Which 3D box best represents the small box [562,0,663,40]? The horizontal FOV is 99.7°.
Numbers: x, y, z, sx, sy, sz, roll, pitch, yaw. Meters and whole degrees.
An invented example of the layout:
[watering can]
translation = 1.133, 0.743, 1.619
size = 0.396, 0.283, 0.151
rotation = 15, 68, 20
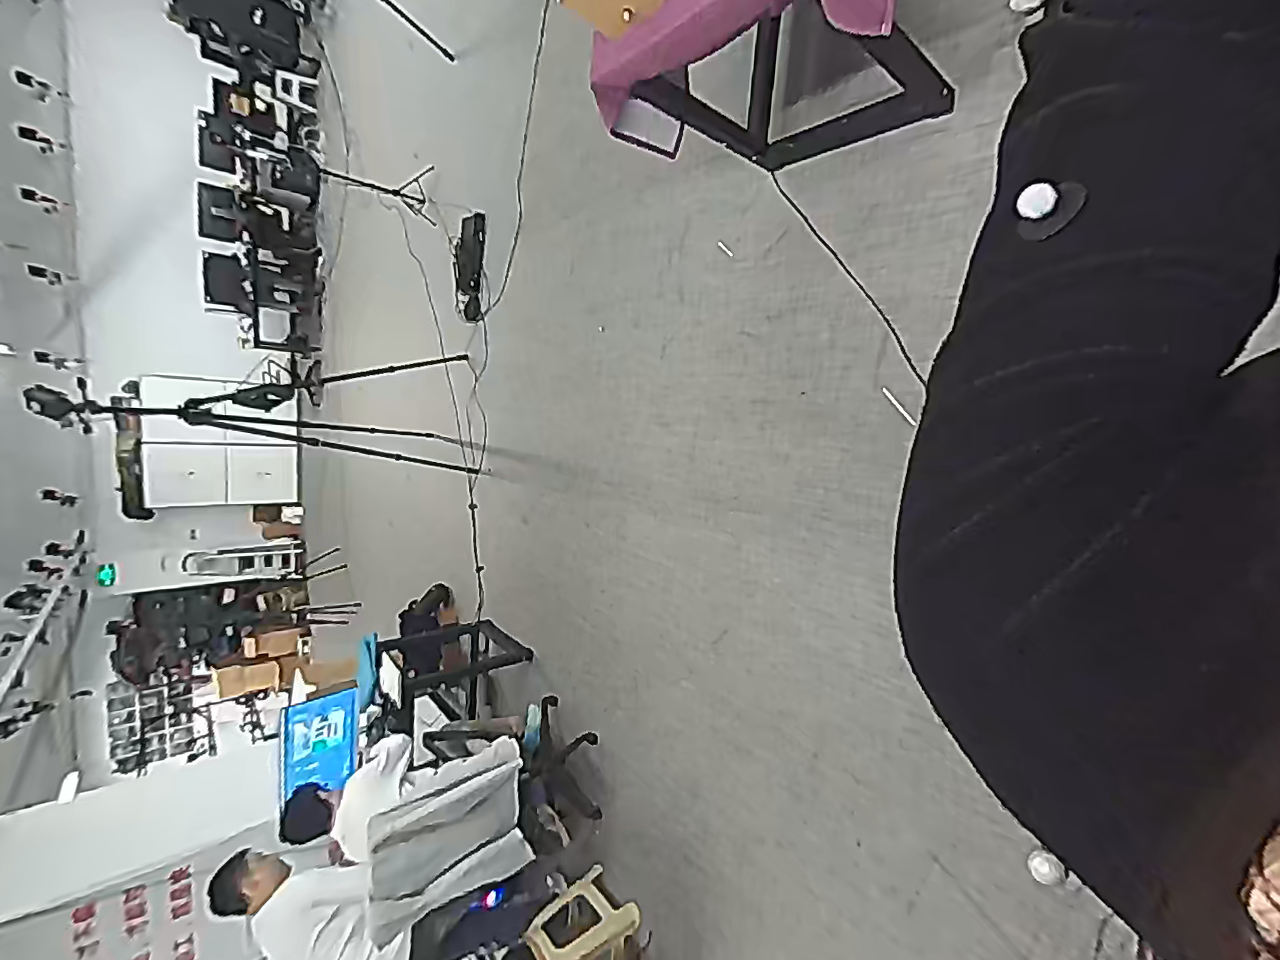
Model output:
[small box]
translation = -0.048, -1.103, 1.154
size = 0.179, 0.176, 0.168
rotation = 6, 95, 48
